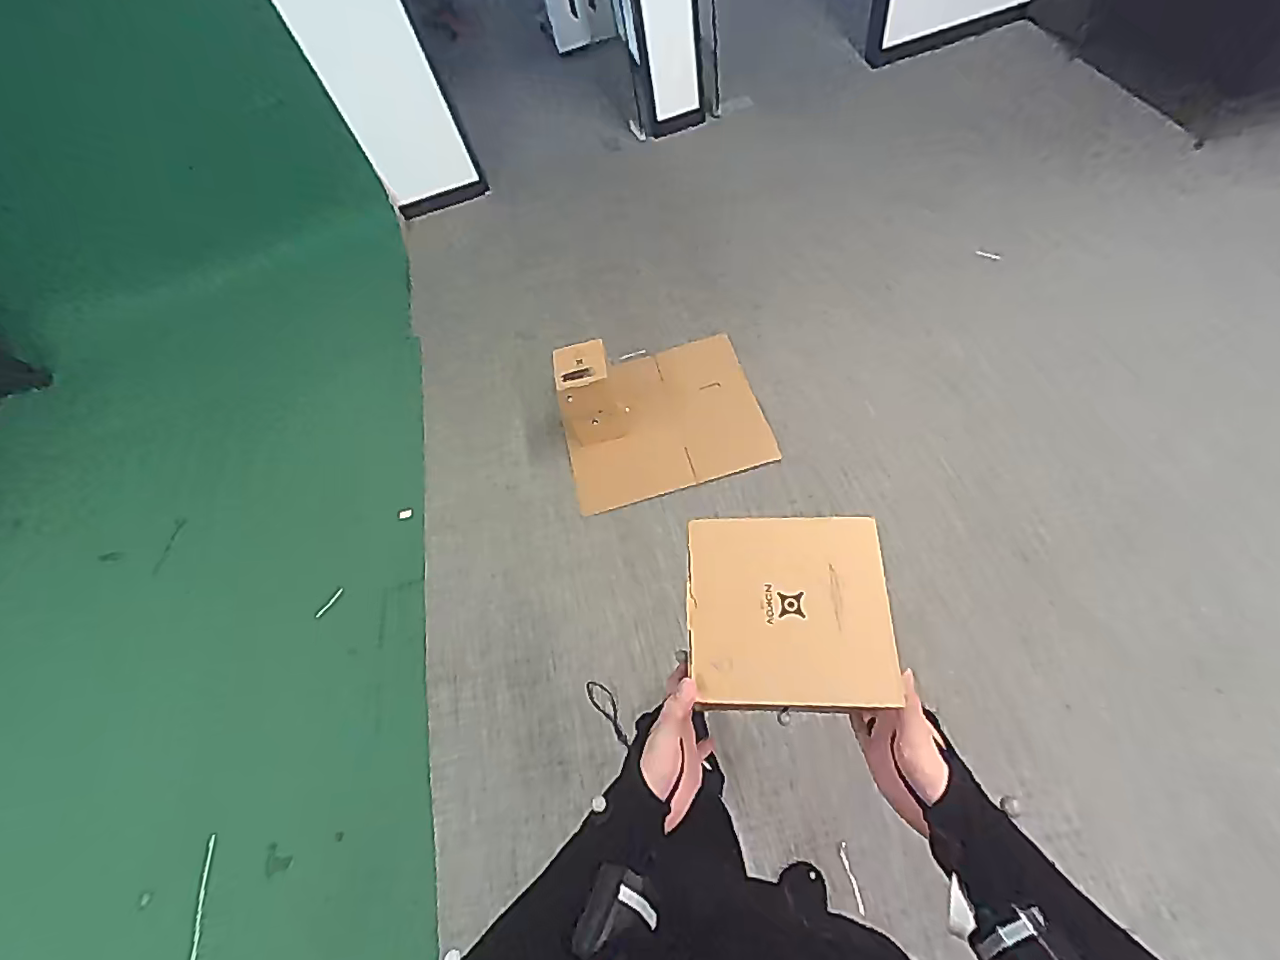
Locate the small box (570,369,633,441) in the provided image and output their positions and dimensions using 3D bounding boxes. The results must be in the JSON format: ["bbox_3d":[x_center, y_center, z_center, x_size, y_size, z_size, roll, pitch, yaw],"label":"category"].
[{"bbox_3d":[-0.134,-0.259,1.911,0.179,0.176,0.168,-13,60,4],"label":"small box"}]

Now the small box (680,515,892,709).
[{"bbox_3d":[0.135,0.142,0.555,0.179,0.176,0.168,-1,66,8],"label":"small box"}]
